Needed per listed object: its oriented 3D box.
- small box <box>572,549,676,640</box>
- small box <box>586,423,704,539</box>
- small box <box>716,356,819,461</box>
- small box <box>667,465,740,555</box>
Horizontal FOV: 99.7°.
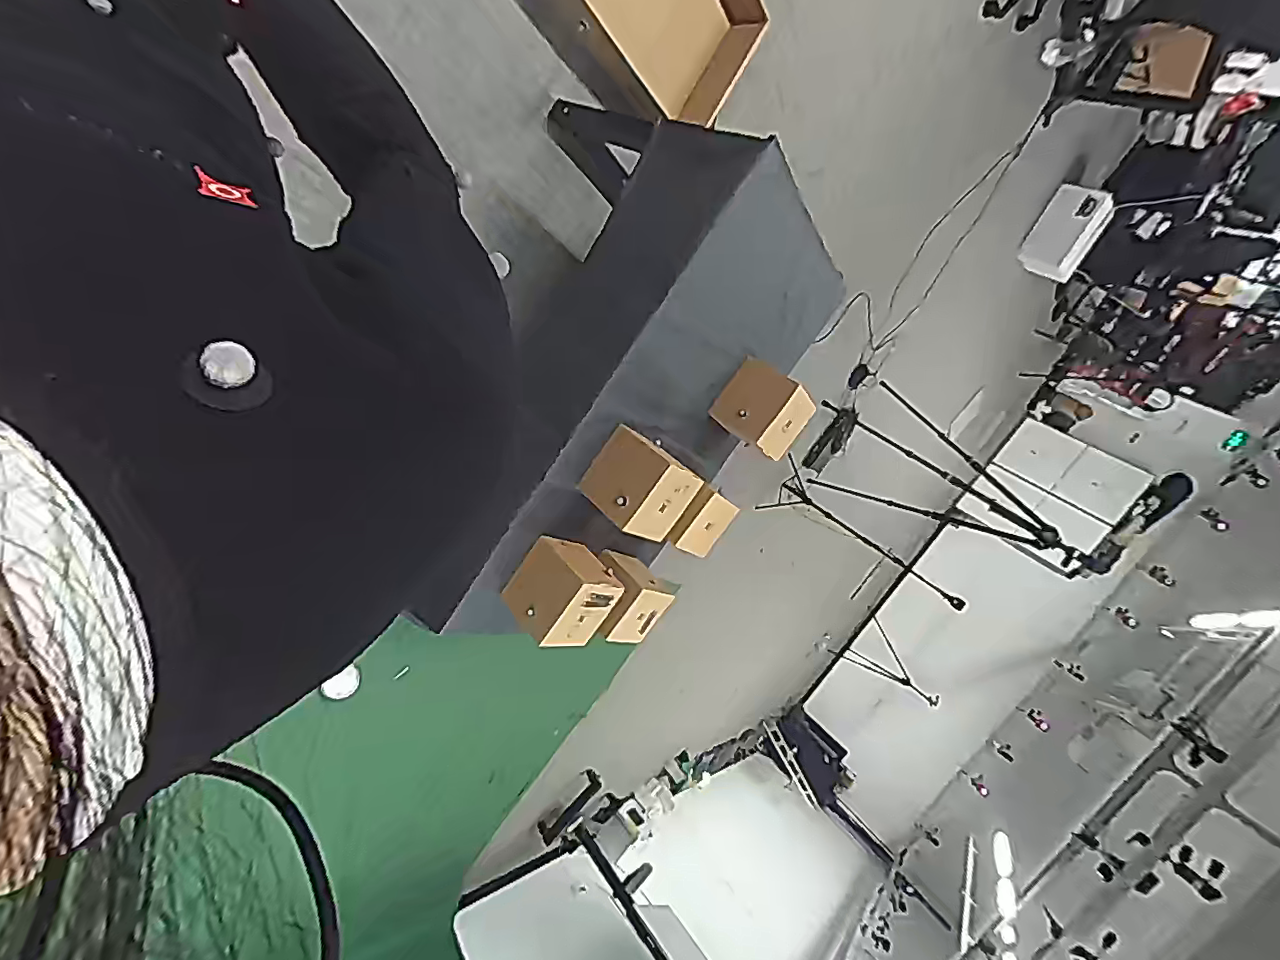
[{"bbox_3d":[-0.043,0.302,1.435,0.168,0.176,0.179,-54,145,5],"label":"small box"},{"bbox_3d":[0.004,0.004,1.202,0.179,0.176,0.168,-55,147,7],"label":"small box"},{"bbox_3d":[0.318,-0.183,1.378,0.179,0.176,0.168,-53,146,7],"label":"small box"},{"bbox_3d":[0.125,0.068,1.406,0.168,0.176,0.179,-53,146,5],"label":"small box"}]
